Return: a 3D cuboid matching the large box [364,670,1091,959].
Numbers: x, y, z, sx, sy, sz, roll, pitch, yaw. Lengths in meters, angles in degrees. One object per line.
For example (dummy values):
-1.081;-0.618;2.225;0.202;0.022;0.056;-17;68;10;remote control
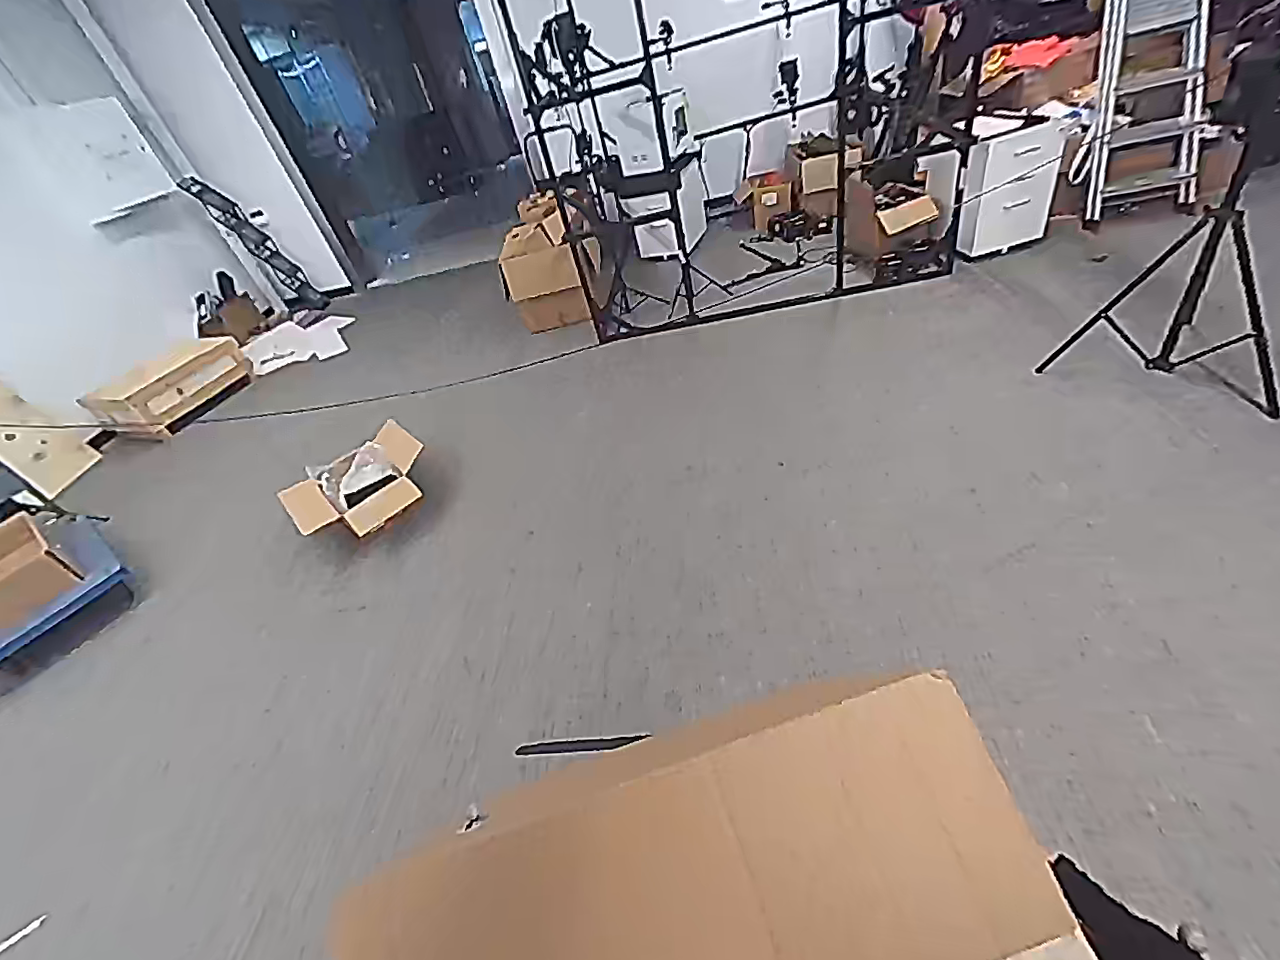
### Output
0.070;0.379;0.430;0.408;0.320;0.320;-18;69;-4;large box
